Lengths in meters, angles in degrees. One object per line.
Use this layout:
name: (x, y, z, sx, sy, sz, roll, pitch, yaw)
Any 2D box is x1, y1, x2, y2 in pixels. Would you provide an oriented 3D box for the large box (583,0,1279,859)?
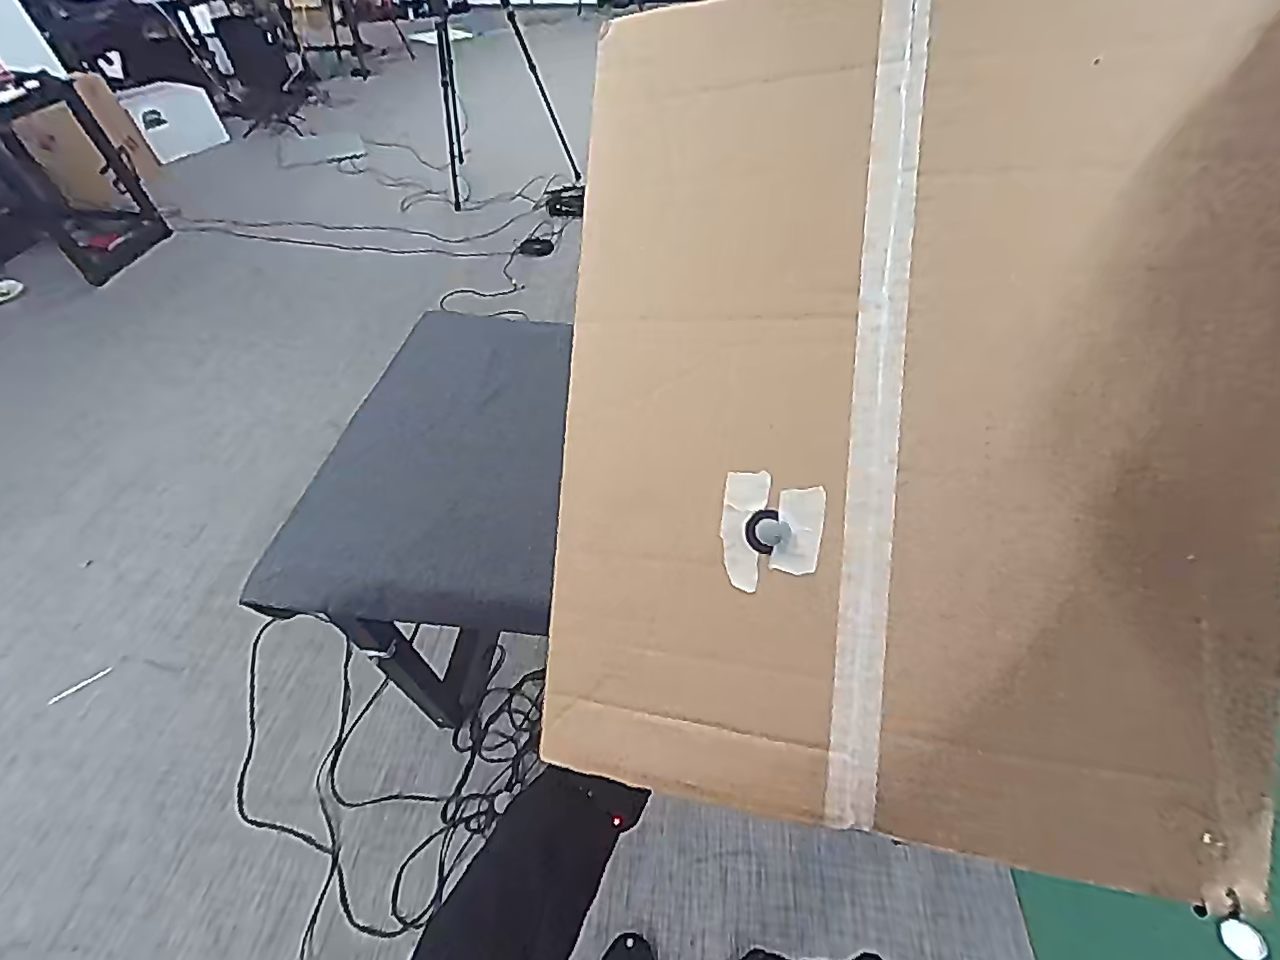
large box: (0.158, -0.035, 0.418, 0.320, 0.320, 0.408, 4, 91, 15)
